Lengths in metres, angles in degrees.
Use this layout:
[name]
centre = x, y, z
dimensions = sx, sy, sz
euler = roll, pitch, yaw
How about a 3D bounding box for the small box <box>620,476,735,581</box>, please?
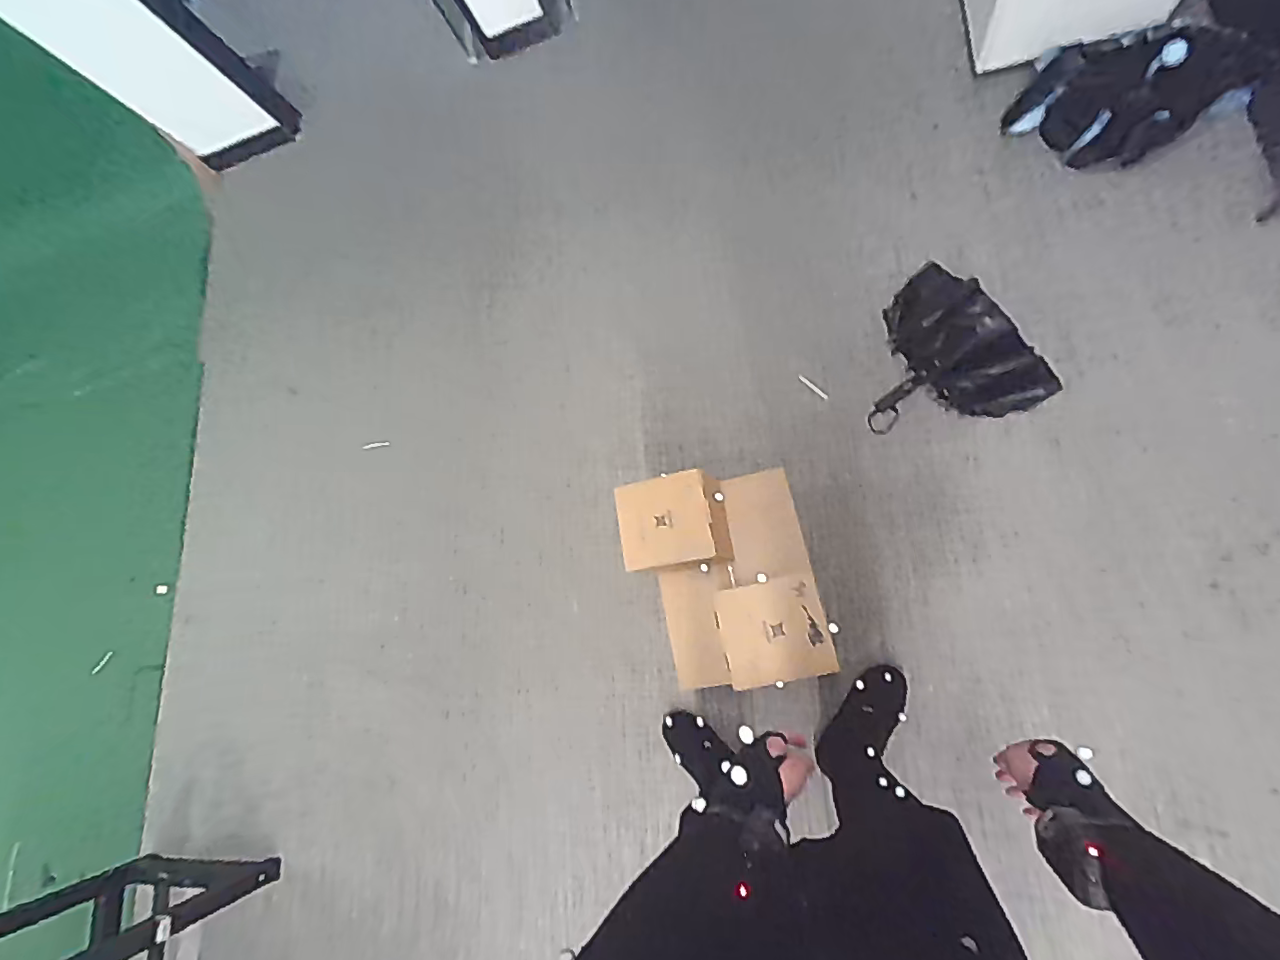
[small box]
centre = 0.081, 0.103, 1.066
dimensions = 0.179, 0.176, 0.168
euler = -15, 72, 19
